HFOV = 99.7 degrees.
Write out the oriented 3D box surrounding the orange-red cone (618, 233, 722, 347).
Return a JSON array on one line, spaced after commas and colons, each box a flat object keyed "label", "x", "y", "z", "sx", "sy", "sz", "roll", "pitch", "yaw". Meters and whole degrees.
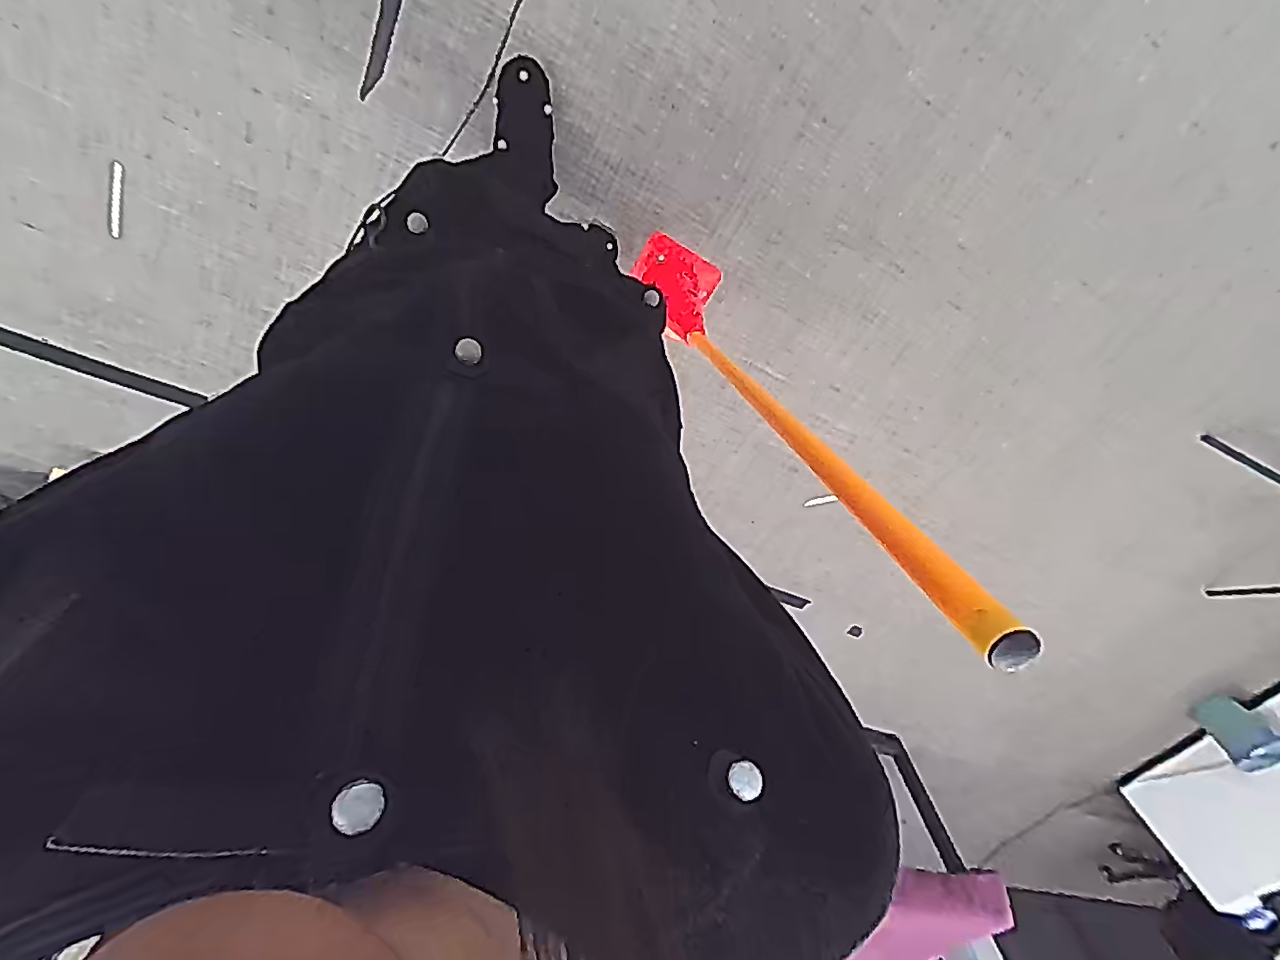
[{"label": "orange-red cone", "x": 0.086, "y": -0.360, "z": 1.150, "sx": 0.198, "sy": 0.360, "sz": 0.199, "roll": 26, "pitch": 118, "yaw": -21}]
